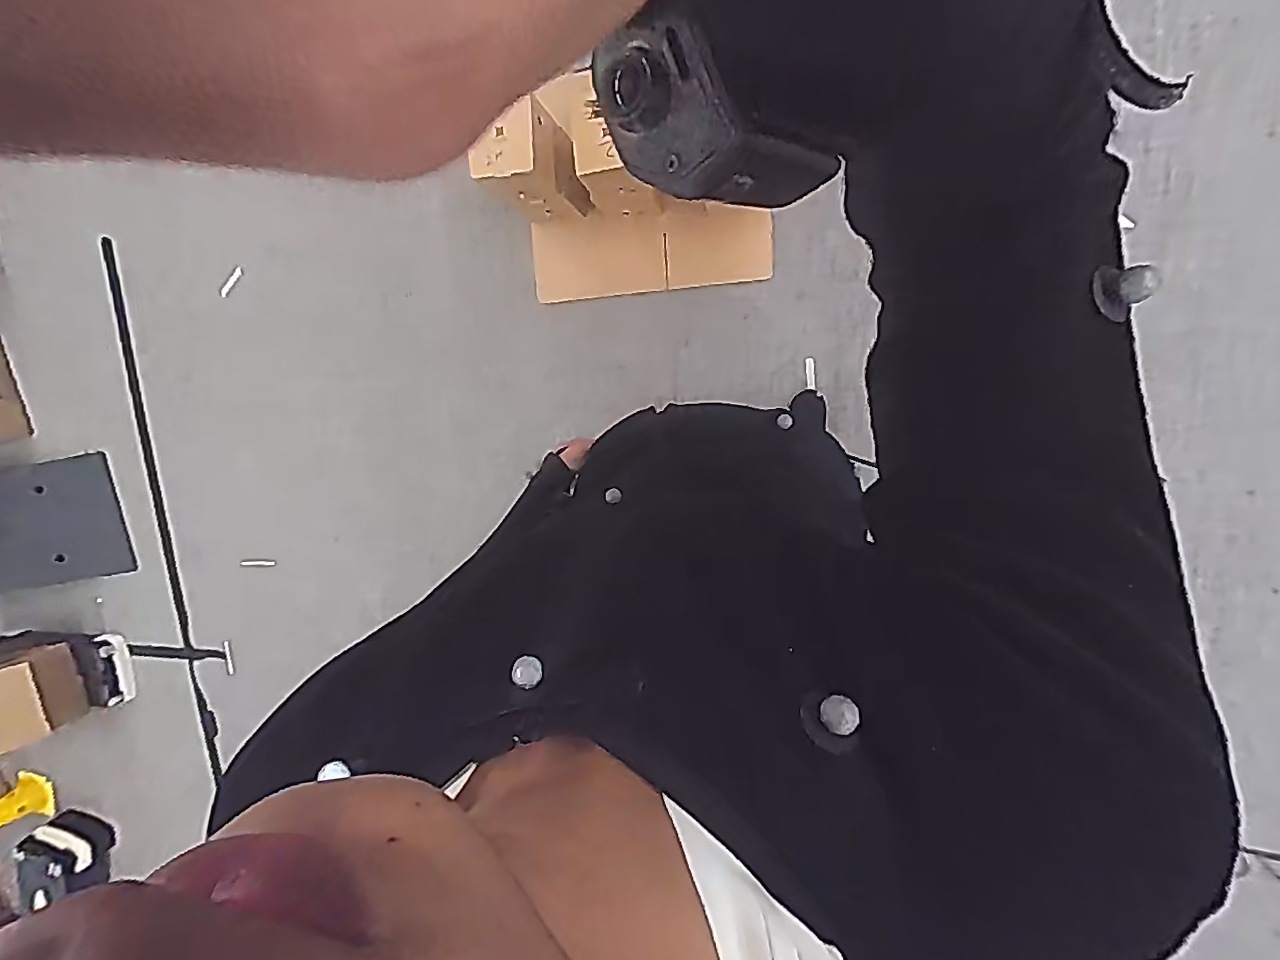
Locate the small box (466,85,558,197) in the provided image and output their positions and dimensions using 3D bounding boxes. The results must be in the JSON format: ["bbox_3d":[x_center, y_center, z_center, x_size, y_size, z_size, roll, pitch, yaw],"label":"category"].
[{"bbox_3d":[-0.306,-0.817,1.321,0.168,0.176,0.179,2,100,13],"label":"small box"}]

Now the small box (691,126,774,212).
[{"bbox_3d":[0.239,-0.806,1.373,0.179,0.176,0.168,-11,97,14],"label":"small box"}]

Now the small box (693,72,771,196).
[{"bbox_3d":[0.208,-0.767,1.217,0.168,0.176,0.179,-1,100,12],"label":"small box"}]

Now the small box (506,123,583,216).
[{"bbox_3d":[-0.260,-0.837,1.478,0.168,0.176,0.179,1,100,13],"label":"small box"}]

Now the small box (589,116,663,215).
[{"bbox_3d":[-0.035,-0.824,1.431,0.168,0.176,0.179,2,100,12],"label":"small box"}]
